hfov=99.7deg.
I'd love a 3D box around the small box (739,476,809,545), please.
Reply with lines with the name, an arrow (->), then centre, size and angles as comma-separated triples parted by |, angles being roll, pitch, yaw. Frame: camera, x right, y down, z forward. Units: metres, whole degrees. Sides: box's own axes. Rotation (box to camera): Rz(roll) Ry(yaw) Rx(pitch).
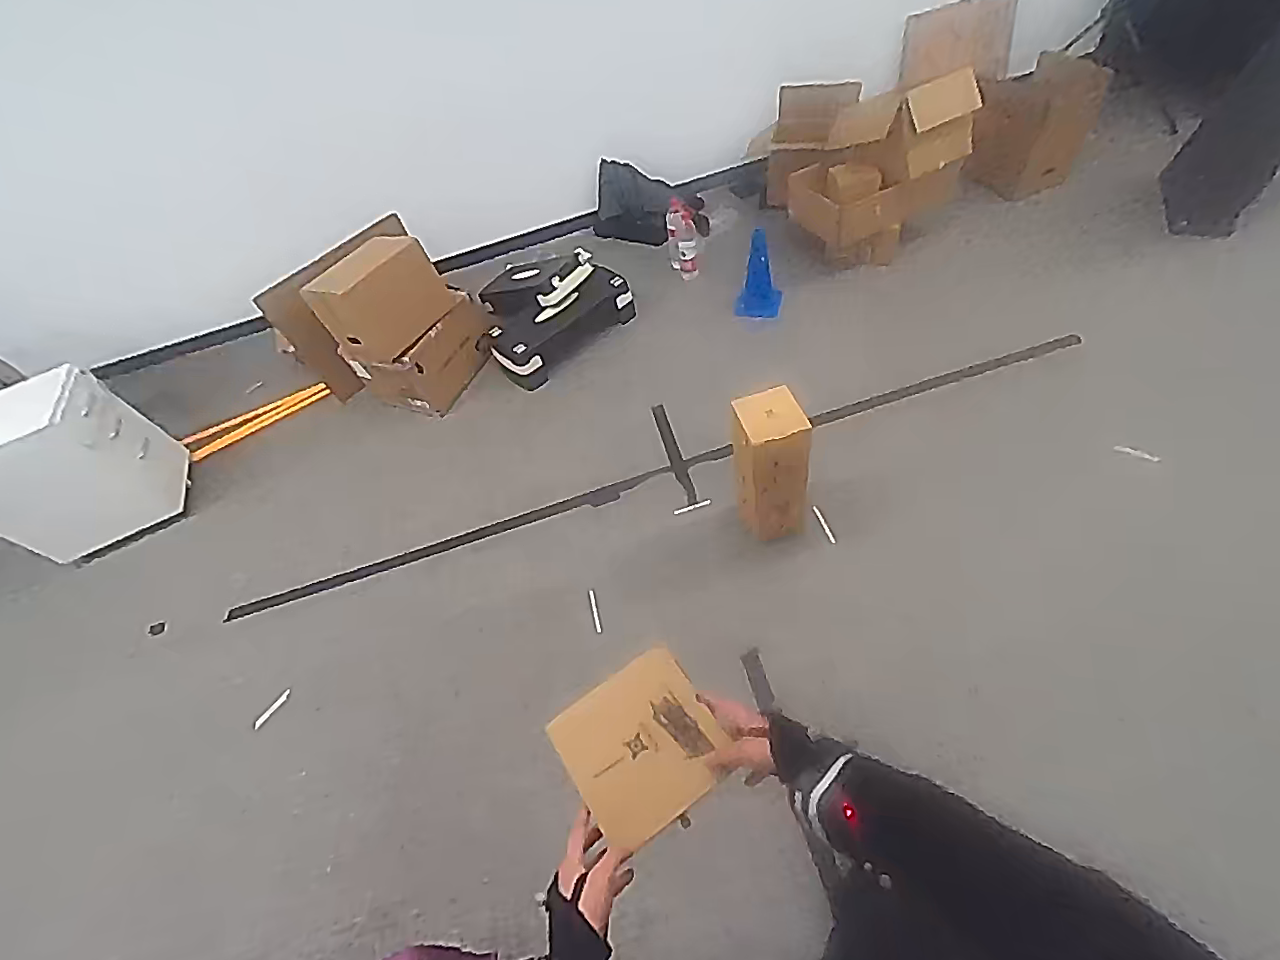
small box -> 0.433, 0.081, 1.768 | 0.168, 0.176, 0.179 | -20, 53, -2

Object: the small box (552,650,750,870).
small box -> 0.015, 0.350, 0.690 | 0.179, 0.176, 0.168 | -33, 61, -13

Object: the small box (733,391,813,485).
small box -> 0.366, -0.115, 1.514 | 0.168, 0.176, 0.179 | -17, 52, -1
